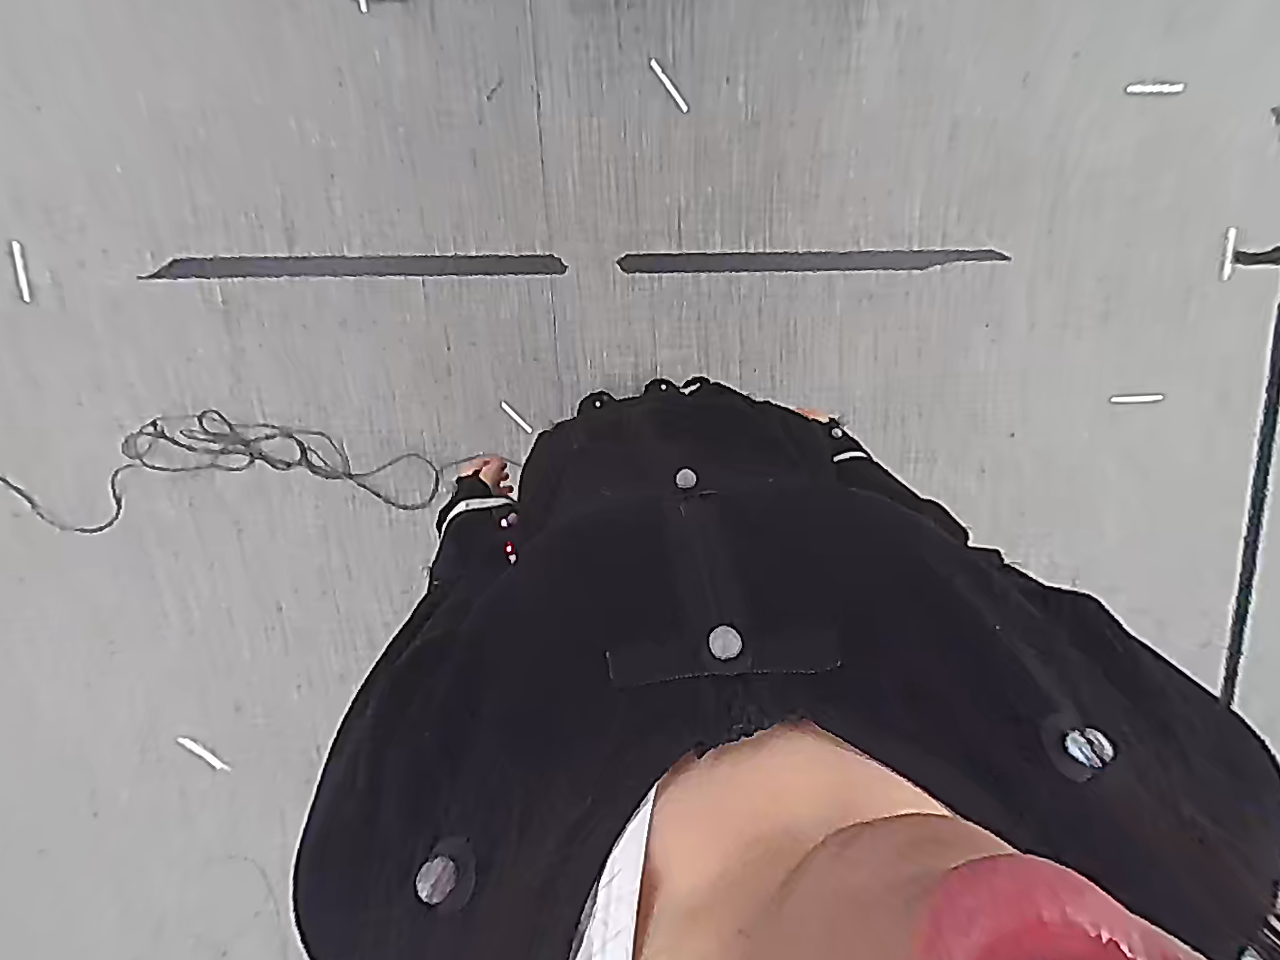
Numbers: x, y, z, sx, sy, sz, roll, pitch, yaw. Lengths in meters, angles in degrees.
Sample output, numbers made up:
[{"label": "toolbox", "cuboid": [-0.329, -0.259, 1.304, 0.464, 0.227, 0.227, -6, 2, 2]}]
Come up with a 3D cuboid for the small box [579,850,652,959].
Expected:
[{"label": "small box", "cuboid": [-0.068, 1.114, 1.424, 0.179, 0.176, 0.168, -5, 99, -4]}]
